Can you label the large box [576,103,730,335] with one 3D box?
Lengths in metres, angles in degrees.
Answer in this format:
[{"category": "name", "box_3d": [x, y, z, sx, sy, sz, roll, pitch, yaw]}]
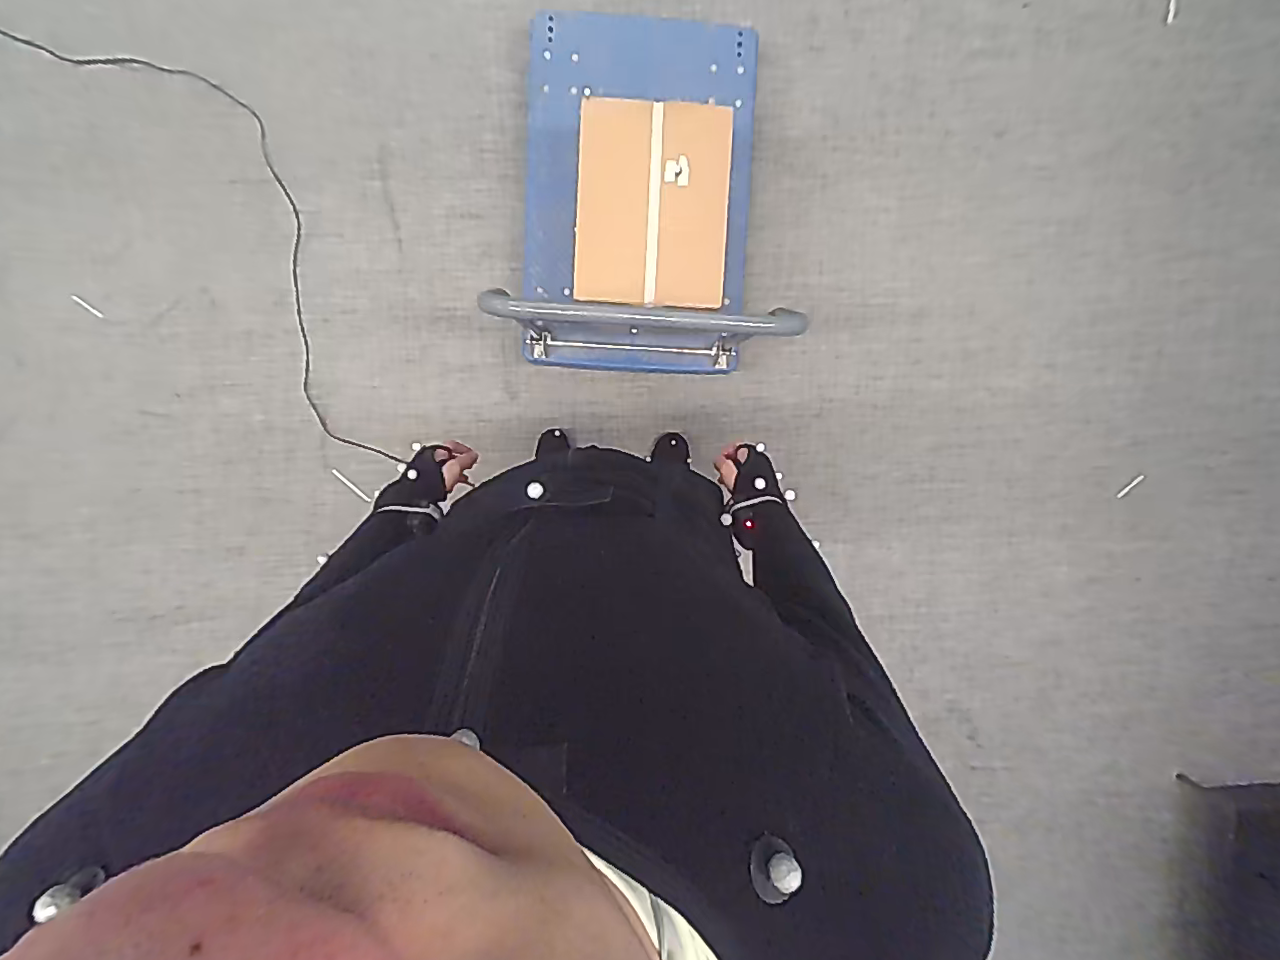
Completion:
[{"category": "large box", "box_3d": [0.022, -0.572, 1.264, 0.320, 0.320, 0.408, 3, 94, -3]}]
